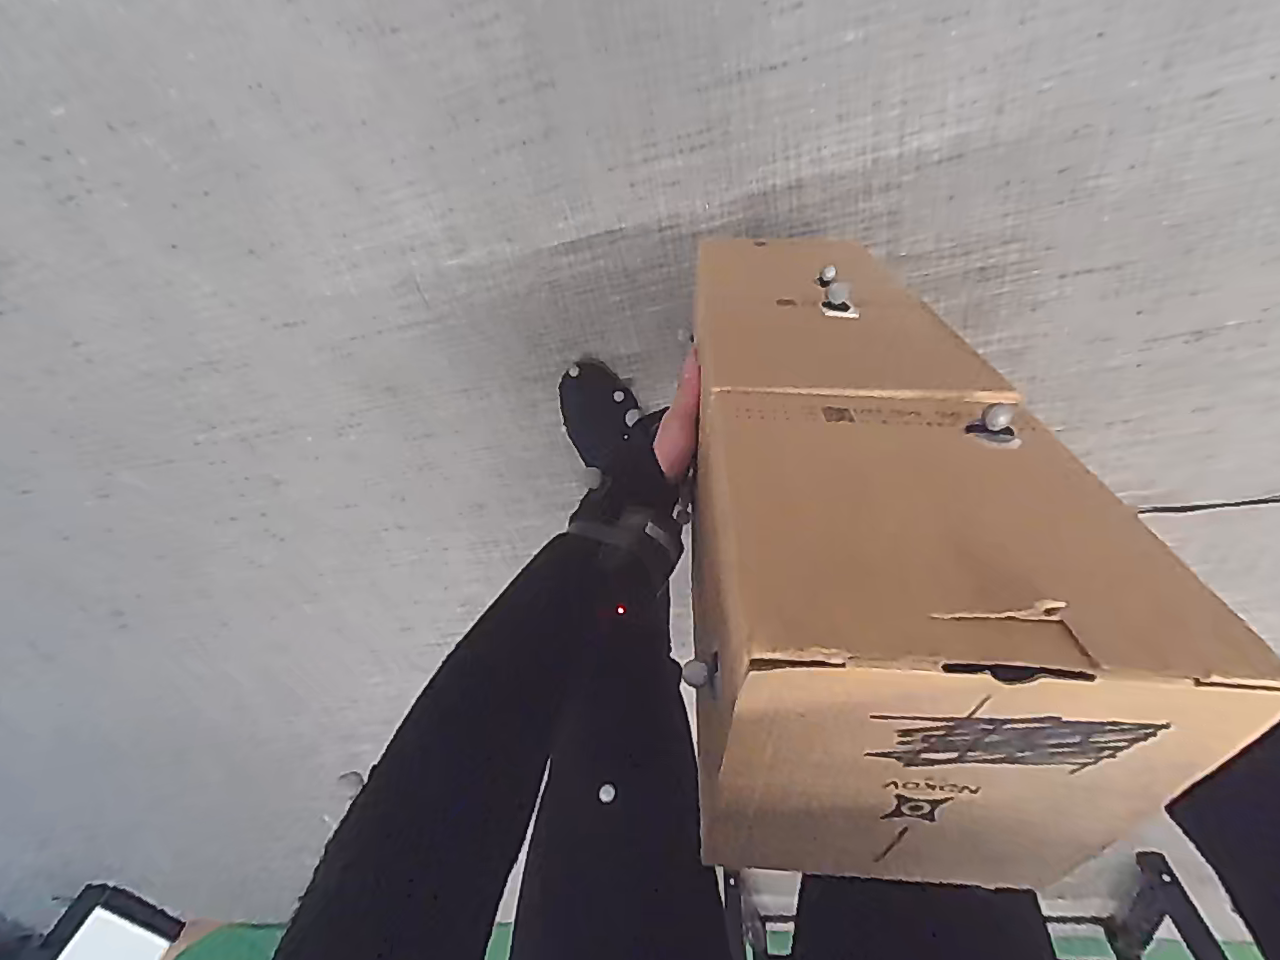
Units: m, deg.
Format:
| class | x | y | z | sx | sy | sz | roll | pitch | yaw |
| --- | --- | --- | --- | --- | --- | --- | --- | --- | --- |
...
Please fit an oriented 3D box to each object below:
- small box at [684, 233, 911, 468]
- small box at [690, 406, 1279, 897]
| class | x | y | z | sx | sy | sz | roll | pitch | yaw |
| --- | --- | --- | --- | --- | --- | --- | --- | --- | --- |
| small box | 0.132 | -0.124 | 0.527 | 0.168 | 0.176 | 0.179 | 3 | 128 | 3 |
| small box | 0.113 | 0.077 | 0.271 | 0.168 | 0.176 | 0.179 | 3 | 129 | 3 |
